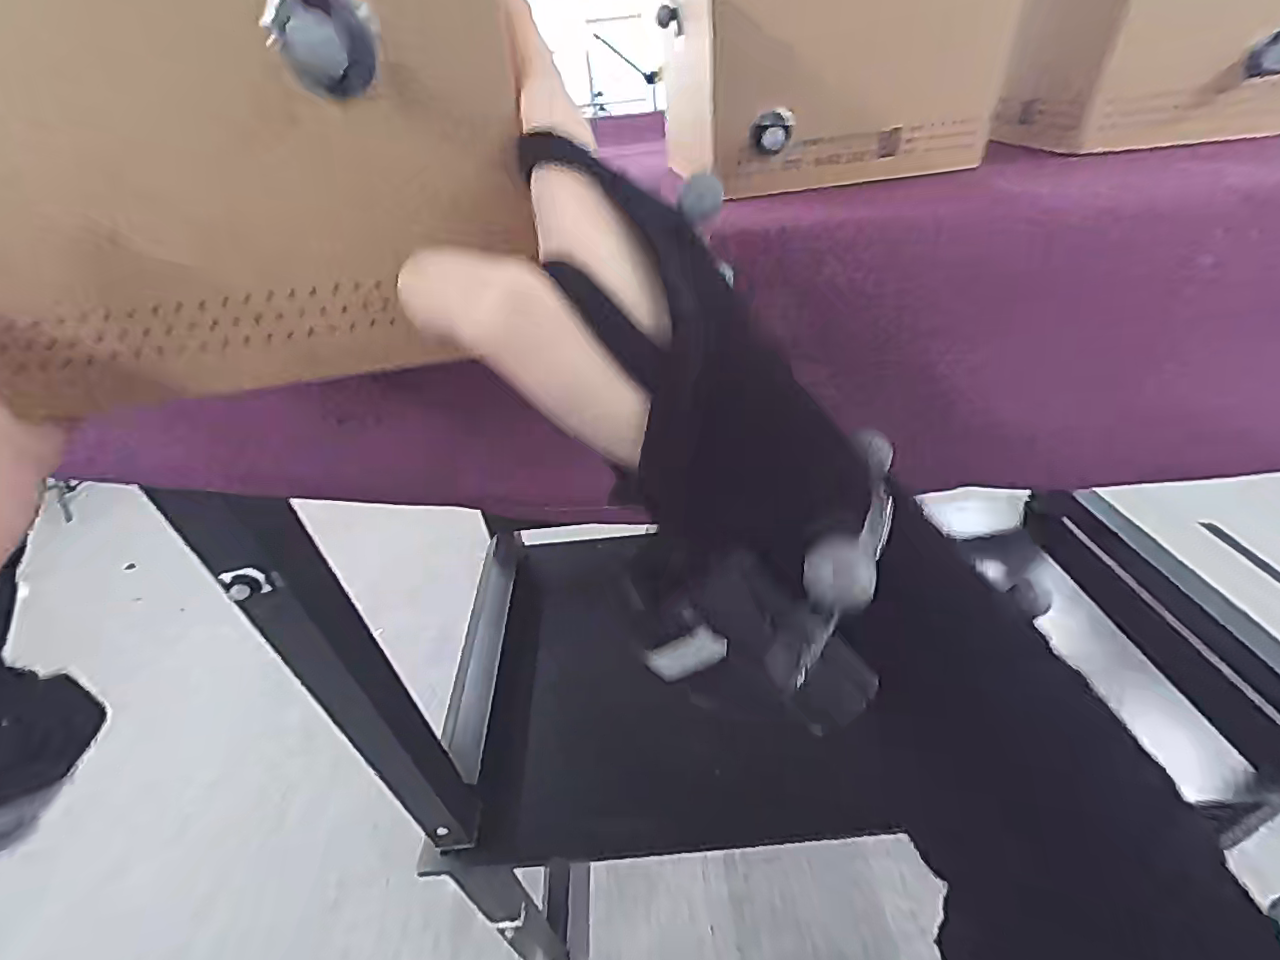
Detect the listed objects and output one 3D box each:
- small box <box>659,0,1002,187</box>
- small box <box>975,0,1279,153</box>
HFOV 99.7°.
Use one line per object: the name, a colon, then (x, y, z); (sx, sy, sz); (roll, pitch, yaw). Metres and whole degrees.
small box: (0.106, -0.293, 0.341); (0.168, 0.176, 0.179); (-8, 36, -2)
small box: (0.337, -0.315, 0.335); (0.179, 0.176, 0.168); (-4, 36, 3)
